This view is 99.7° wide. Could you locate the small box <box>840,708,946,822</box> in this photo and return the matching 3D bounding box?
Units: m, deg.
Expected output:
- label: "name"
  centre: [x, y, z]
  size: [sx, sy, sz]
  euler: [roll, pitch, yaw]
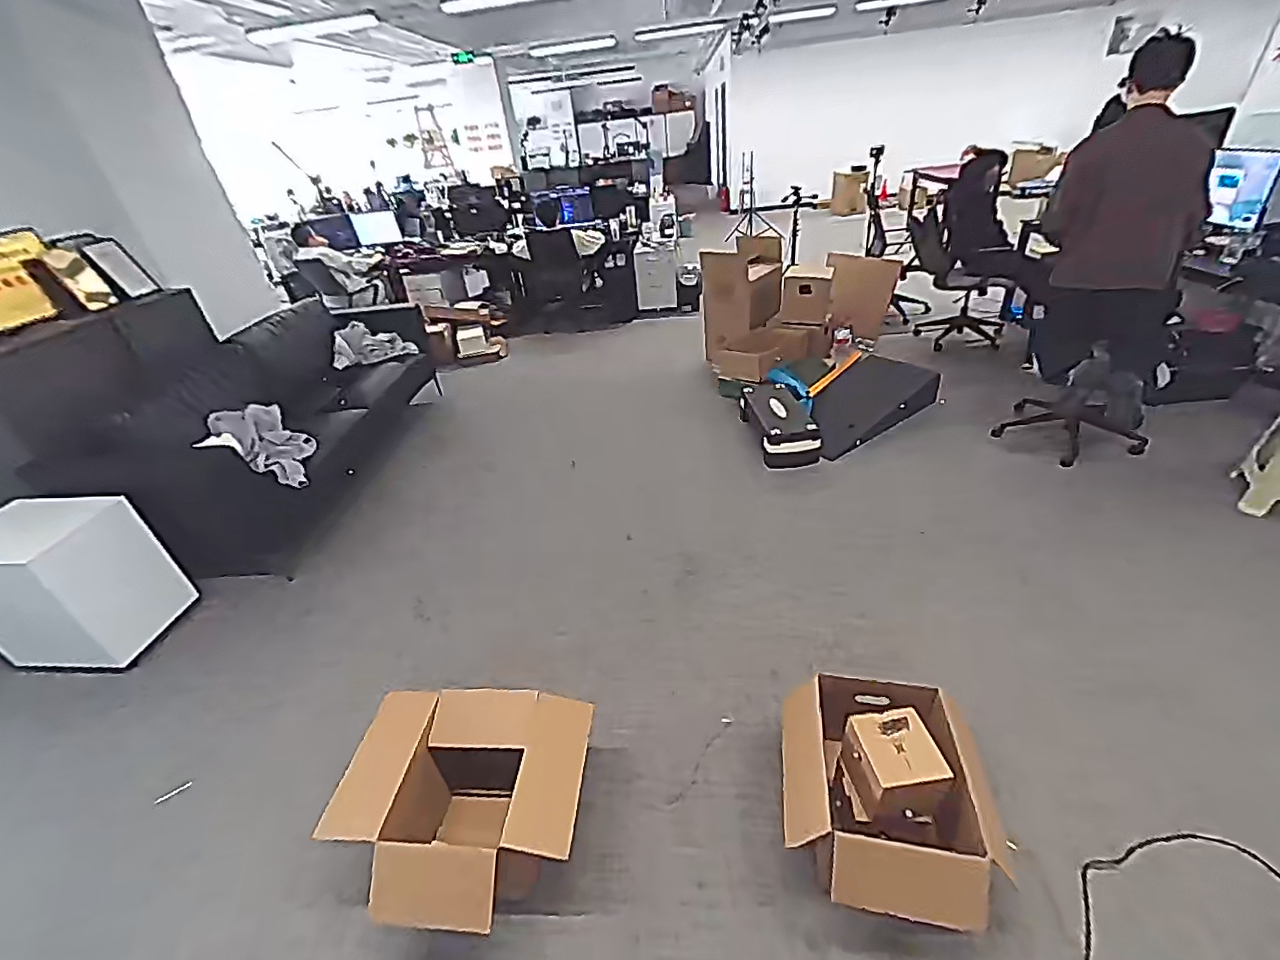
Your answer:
- label: "small box"
  centre: [0.591, 0.679, 1.291]
  size: [0.168, 0.176, 0.179]
  euler: [-7, 32, 1]
